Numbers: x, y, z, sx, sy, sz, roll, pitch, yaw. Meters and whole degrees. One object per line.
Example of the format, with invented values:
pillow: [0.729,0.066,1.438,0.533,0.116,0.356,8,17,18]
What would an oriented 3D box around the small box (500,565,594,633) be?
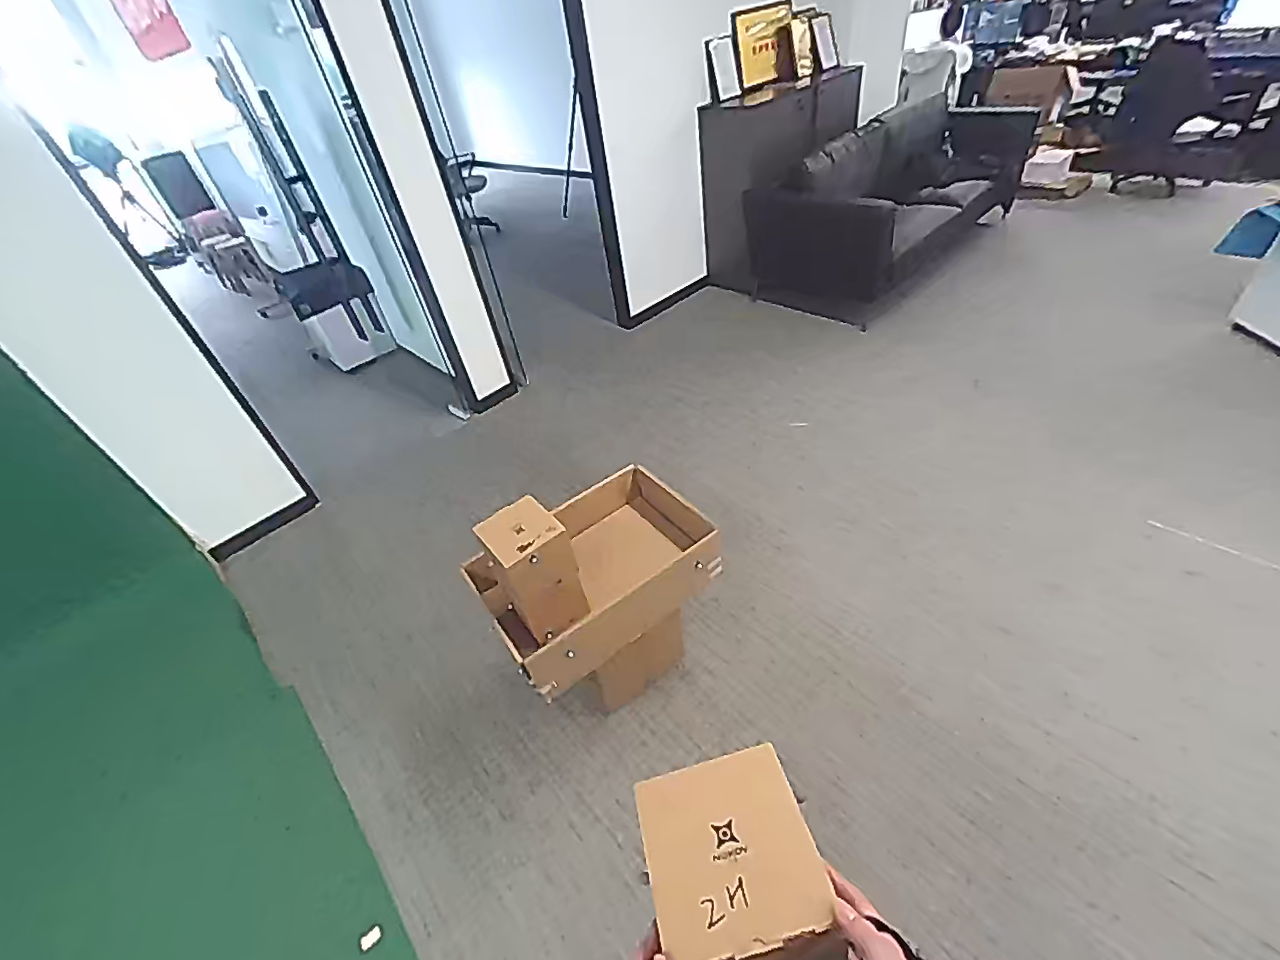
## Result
small box: [-0.246,0.285,1.458,0.168,0.176,0.179,-32,45,-21]

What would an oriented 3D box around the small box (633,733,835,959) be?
small box: [0.099,0.425,0.597,0.168,0.176,0.179,-16,32,-1]

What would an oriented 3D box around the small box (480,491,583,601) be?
small box: [-0.266,0.166,1.347,0.168,0.176,0.179,-35,47,-21]
